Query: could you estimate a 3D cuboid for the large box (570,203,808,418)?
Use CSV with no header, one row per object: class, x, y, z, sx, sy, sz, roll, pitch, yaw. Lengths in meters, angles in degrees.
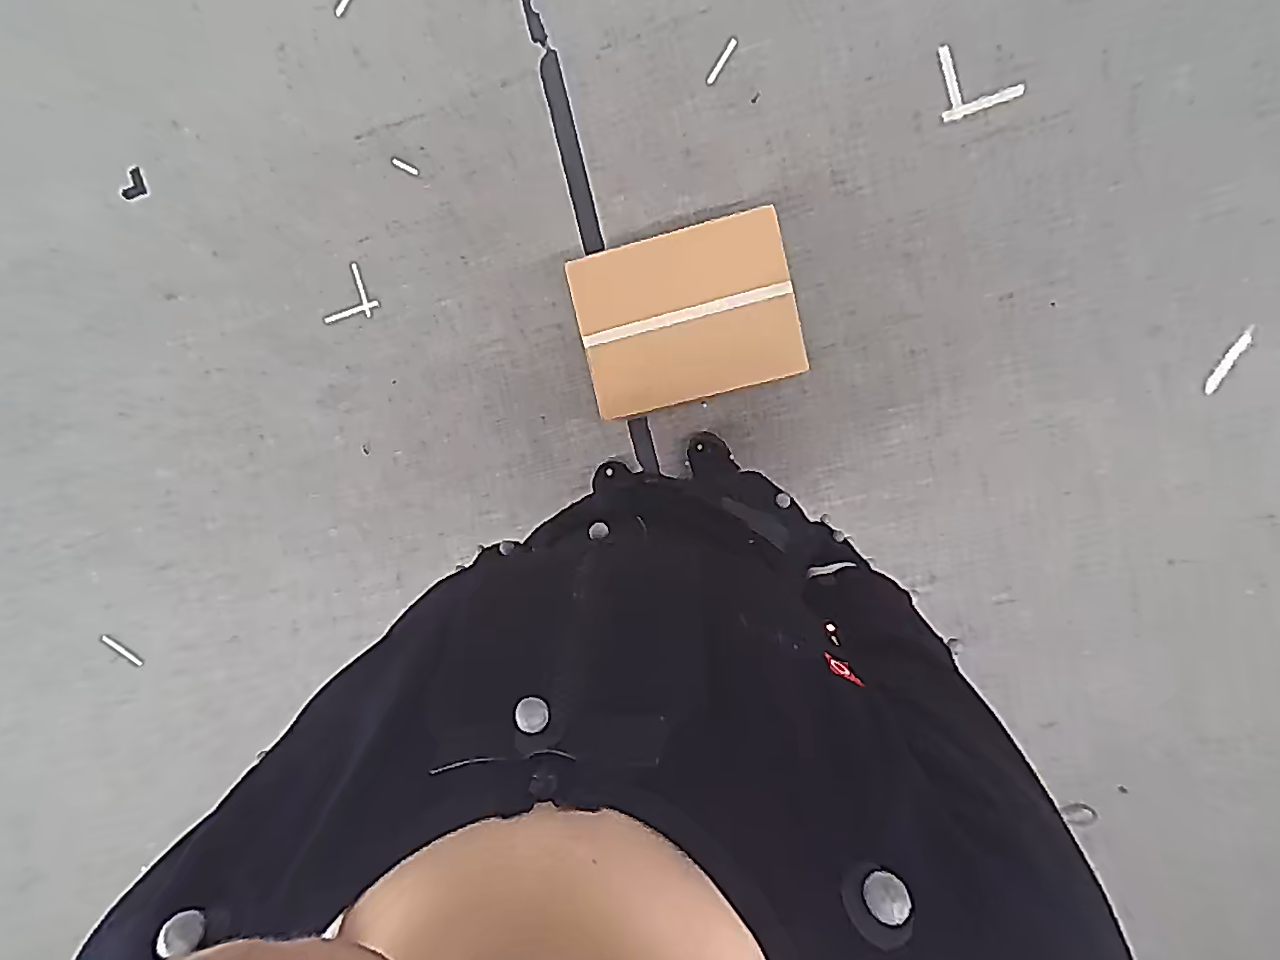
large box,0.103,-0.331,1.172,0.408,0.320,0.320,-13,96,7
